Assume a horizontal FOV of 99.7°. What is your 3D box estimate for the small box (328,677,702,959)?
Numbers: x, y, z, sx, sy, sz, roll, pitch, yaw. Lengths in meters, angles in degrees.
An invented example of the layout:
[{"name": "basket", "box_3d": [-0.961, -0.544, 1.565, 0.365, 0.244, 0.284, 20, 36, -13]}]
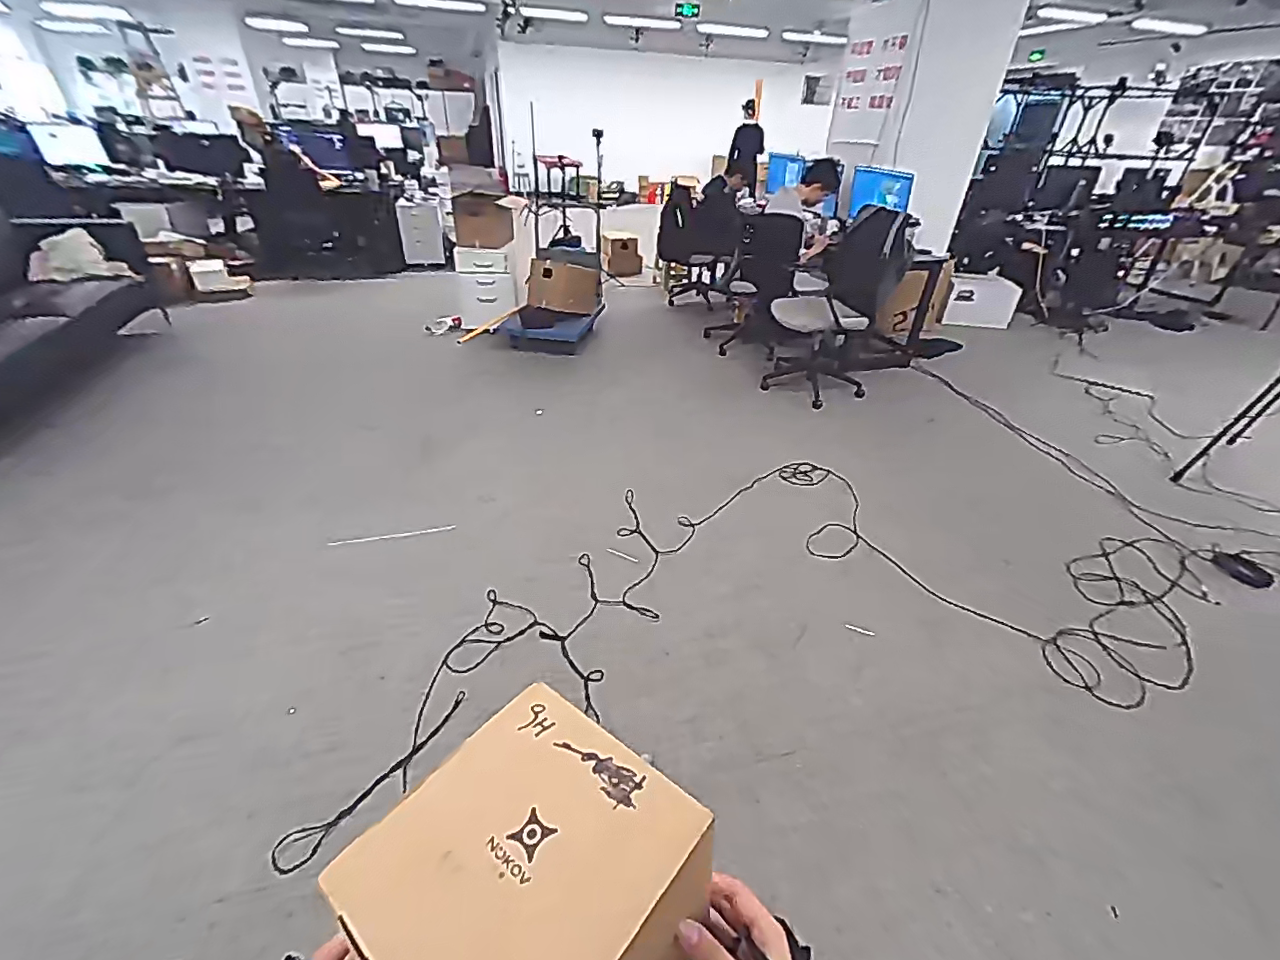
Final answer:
[{"name": "small box", "box_3d": [-0.068, 0.287, 0.375, 0.168, 0.176, 0.179, 22, 40, 34]}]
